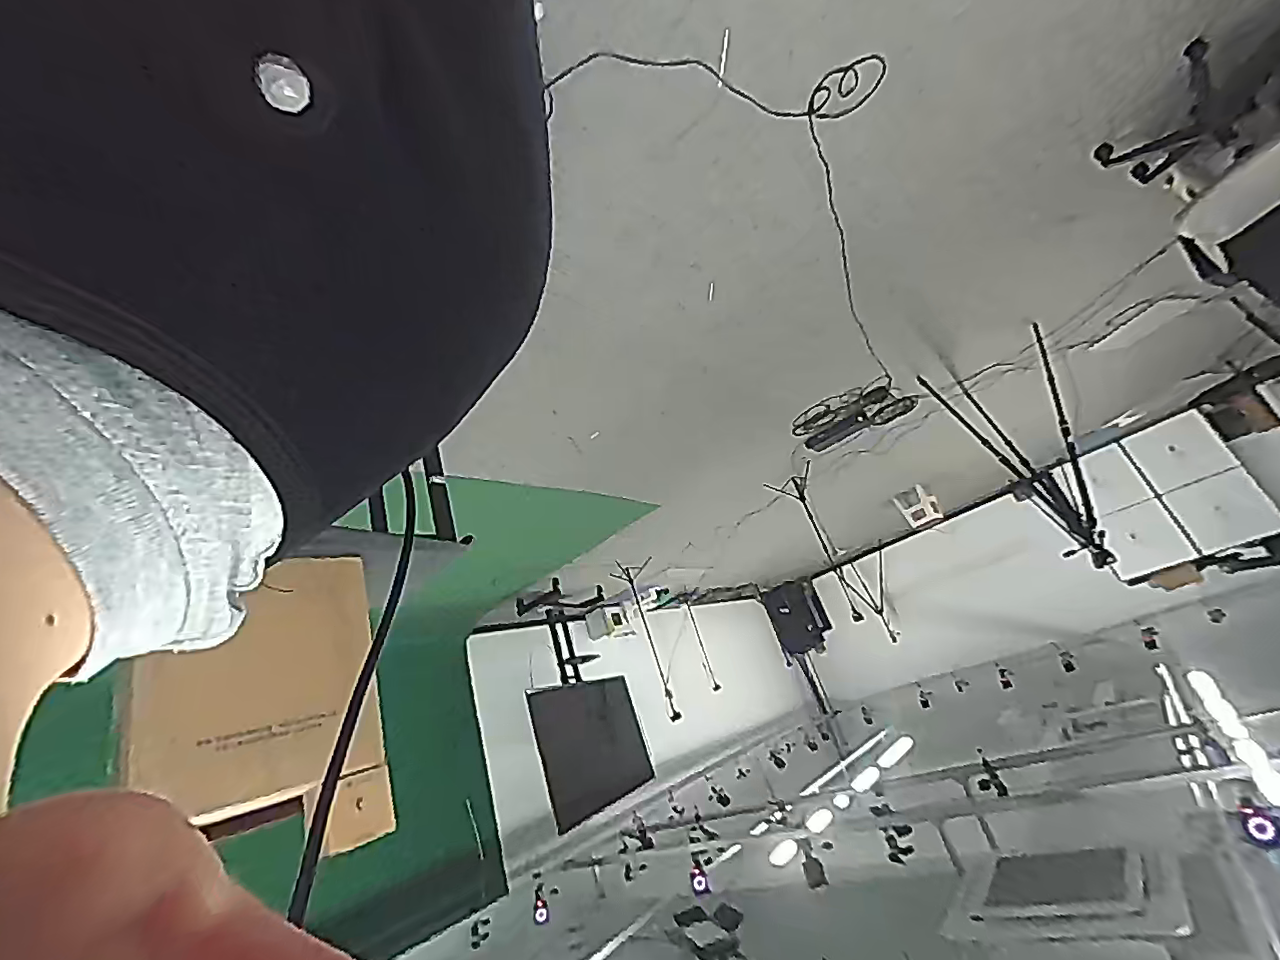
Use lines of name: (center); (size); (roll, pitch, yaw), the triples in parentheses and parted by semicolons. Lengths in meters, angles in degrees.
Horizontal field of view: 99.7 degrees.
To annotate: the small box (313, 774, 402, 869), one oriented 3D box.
small box: (-0.774, 0.922, 1.471); (0.168, 0.176, 0.179); (6, 146, -46)
